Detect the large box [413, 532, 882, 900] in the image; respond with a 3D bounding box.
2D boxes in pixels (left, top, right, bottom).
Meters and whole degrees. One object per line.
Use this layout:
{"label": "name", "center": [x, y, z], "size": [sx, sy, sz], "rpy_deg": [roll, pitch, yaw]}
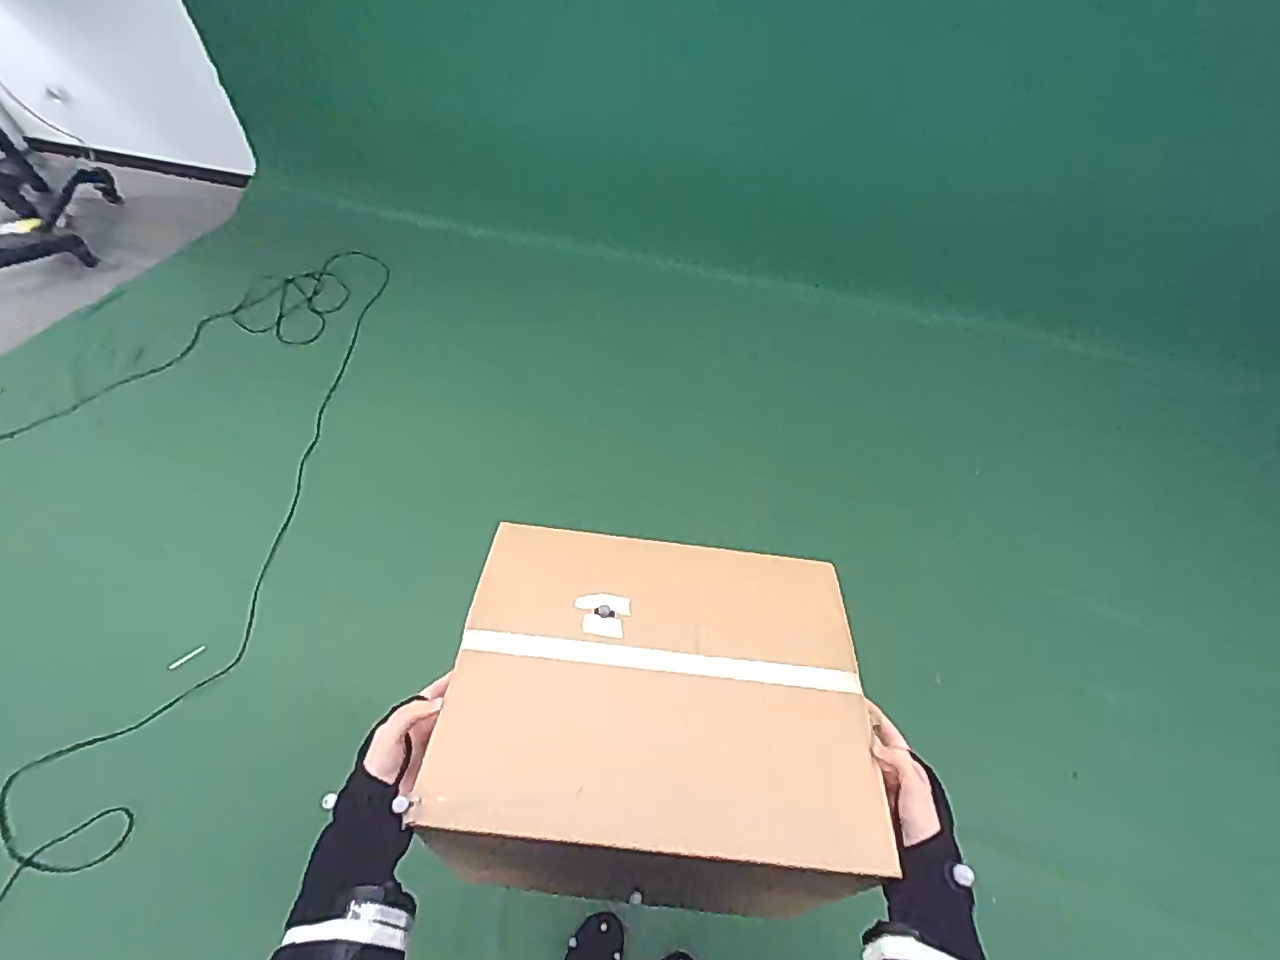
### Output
{"label": "large box", "center": [0.007, 0.293, 0.660], "size": [0.408, 0.320, 0.320], "rpy_deg": [6, 46, -1]}
